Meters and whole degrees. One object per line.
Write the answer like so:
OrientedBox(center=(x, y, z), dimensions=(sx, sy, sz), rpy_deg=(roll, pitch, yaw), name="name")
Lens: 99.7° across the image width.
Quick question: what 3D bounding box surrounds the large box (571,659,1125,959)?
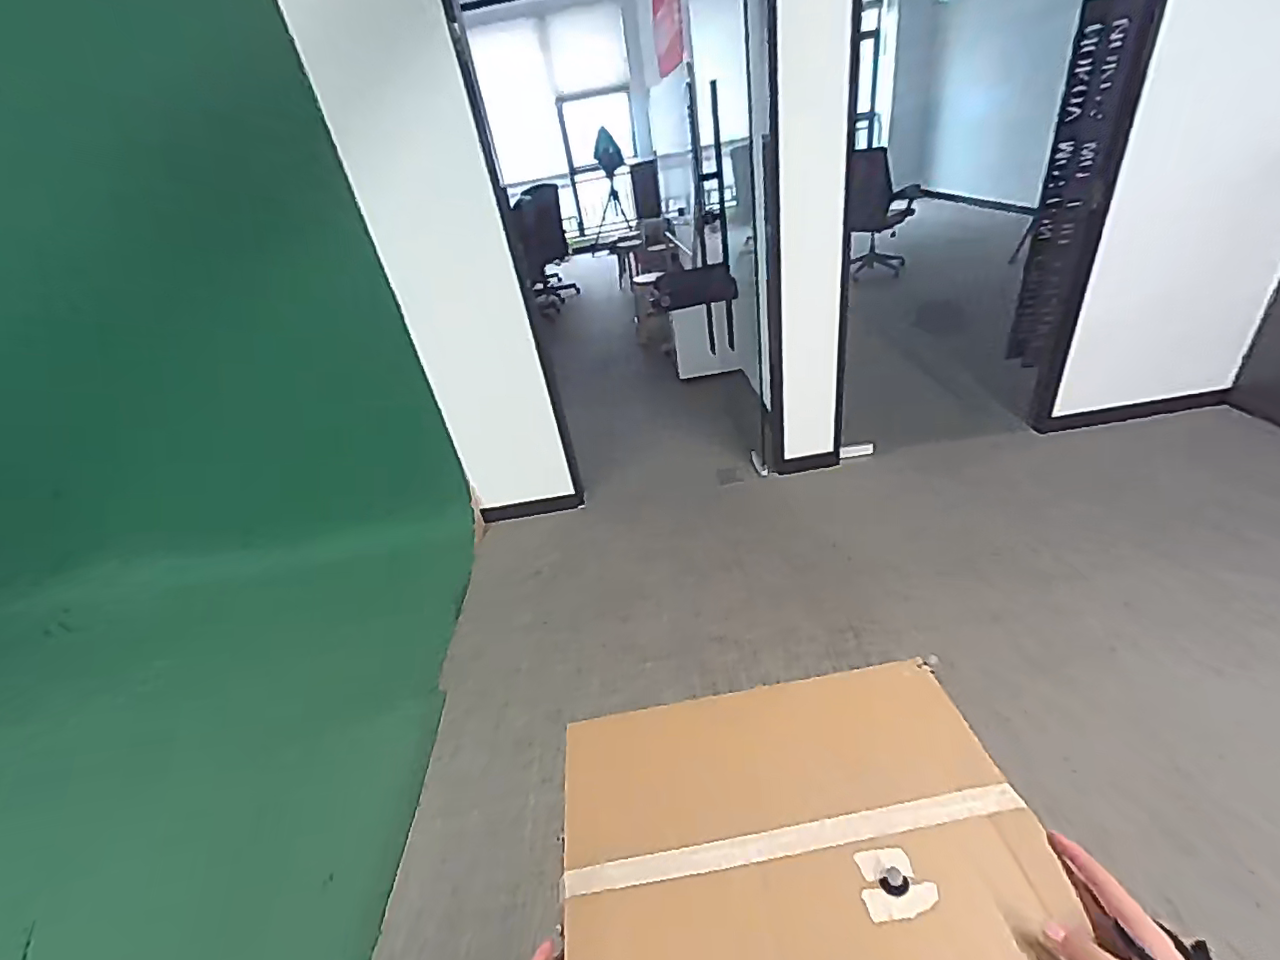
OrientedBox(center=(0.154, 0.441, 0.558), dimensions=(0.408, 0.320, 0.320), rpy_deg=(-10, 33, -2), name="large box")
